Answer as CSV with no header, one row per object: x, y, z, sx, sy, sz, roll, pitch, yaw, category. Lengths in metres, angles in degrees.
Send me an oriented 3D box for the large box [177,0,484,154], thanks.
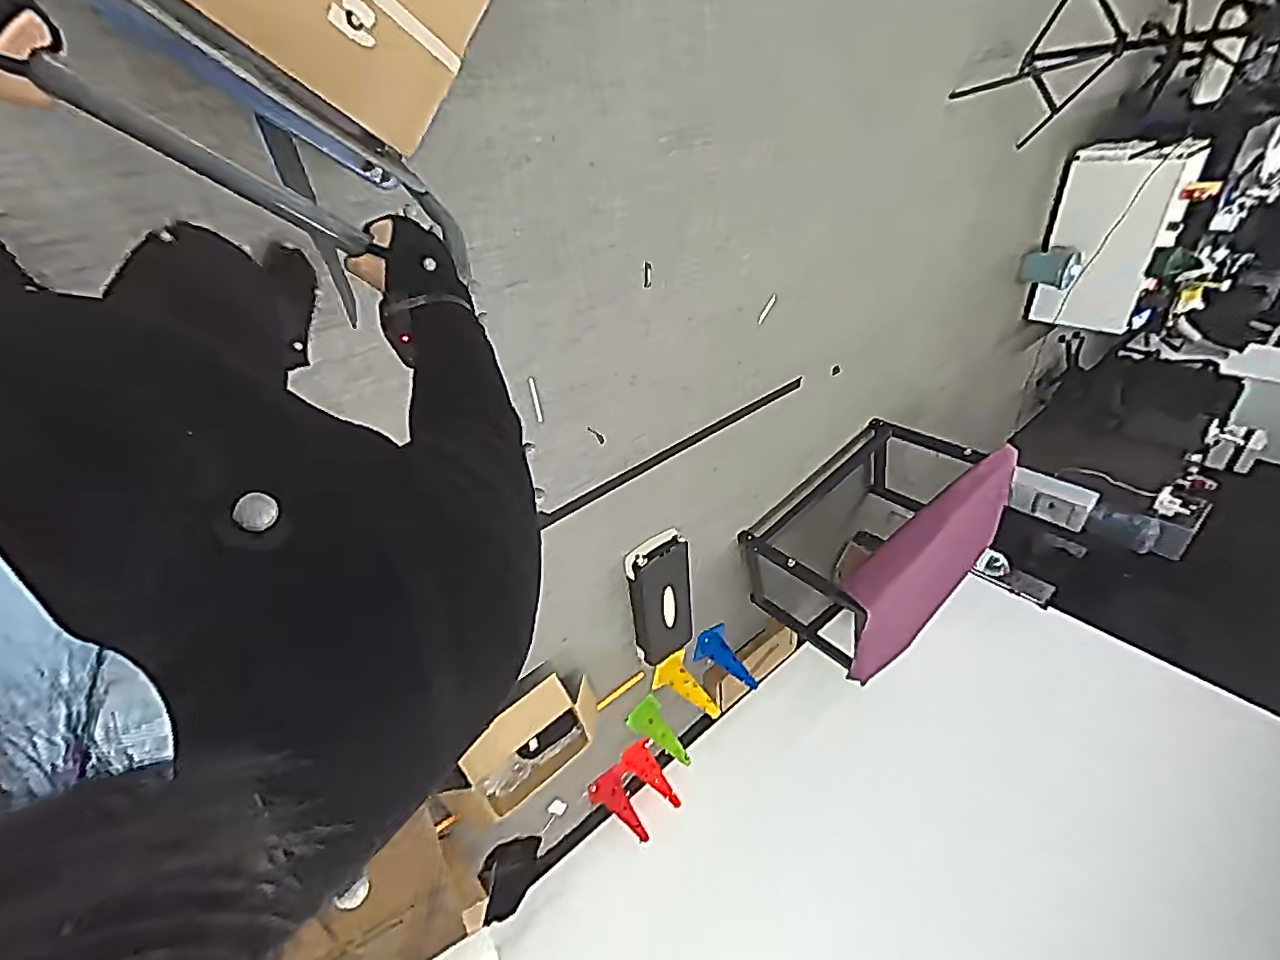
-0.501,-0.774,0.791,0.408,0.320,0.320,22,109,-47,large box
